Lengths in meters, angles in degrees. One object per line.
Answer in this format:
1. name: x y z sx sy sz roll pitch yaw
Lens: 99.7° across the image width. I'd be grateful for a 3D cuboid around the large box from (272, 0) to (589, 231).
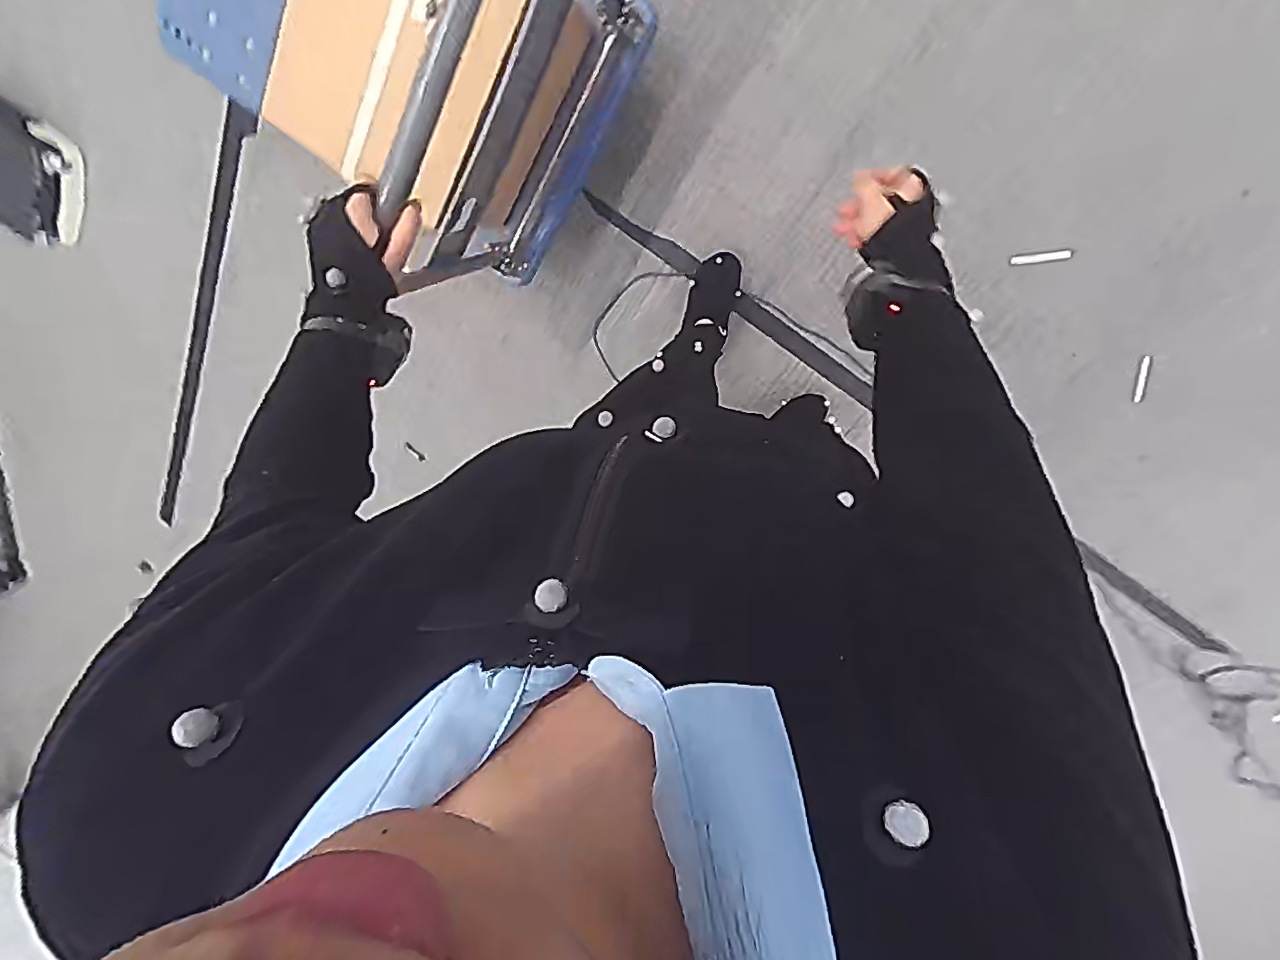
1. large box: -0.340 -0.699 0.932 0.320 0.320 0.408 32 115 -8
